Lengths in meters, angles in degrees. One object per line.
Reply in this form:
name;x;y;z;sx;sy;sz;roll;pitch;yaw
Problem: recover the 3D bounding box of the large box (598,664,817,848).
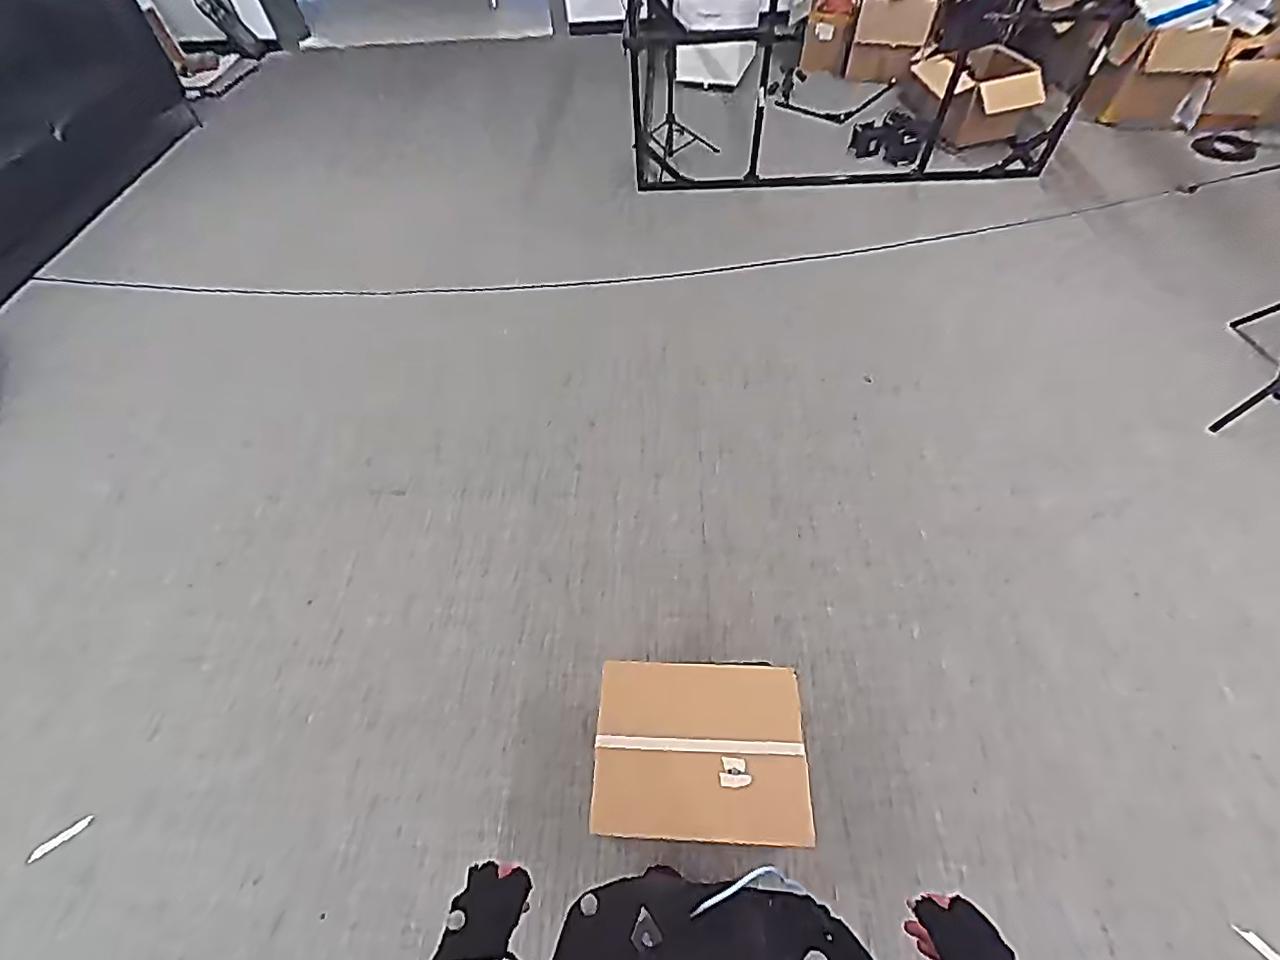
large box;0.130;0.607;1.179;0.408;0.320;0.320;1;56;4
